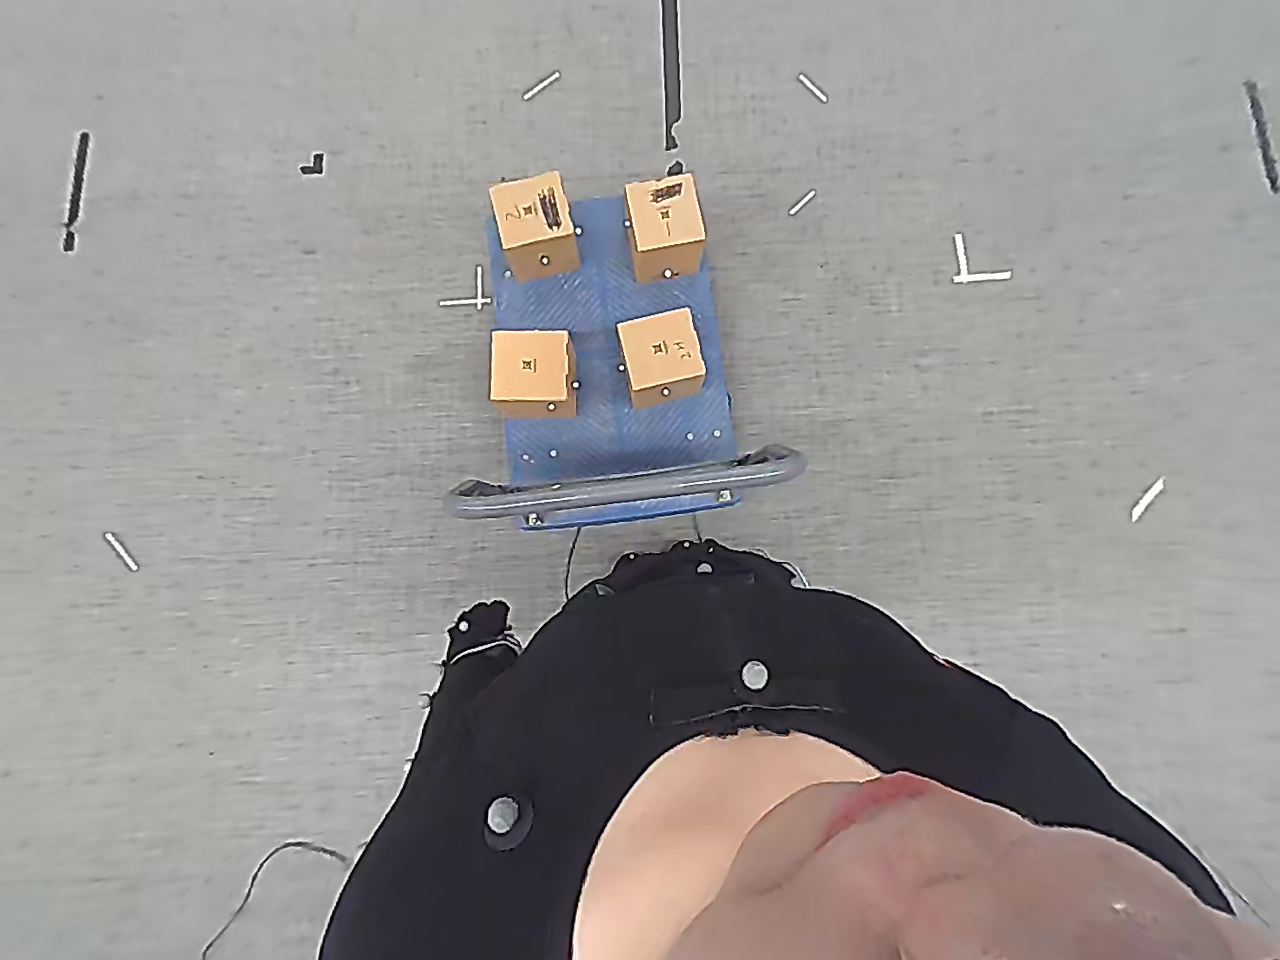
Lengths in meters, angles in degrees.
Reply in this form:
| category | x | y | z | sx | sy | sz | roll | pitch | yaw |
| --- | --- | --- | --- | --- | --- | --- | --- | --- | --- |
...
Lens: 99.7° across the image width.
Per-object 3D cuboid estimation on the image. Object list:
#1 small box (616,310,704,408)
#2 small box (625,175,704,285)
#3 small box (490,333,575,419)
| category | x | y | z | sx | sy | sz | roll | pitch | yaw |
| --- | --- | --- | --- | --- | --- | --- | --- | --- | --- |
| small box | 0.047 | -0.285 | 1.315 | 0.179 | 0.176 | 0.168 | -13 | 83 | -1 |
| small box | 0.056 | -0.620 | 1.358 | 0.168 | 0.176 | 0.179 | -11 | 84 | -1 |
| small box | -0.255 | -0.246 | 1.312 | 0.179 | 0.176 | 0.168 | -1 | 82 | -1 |
